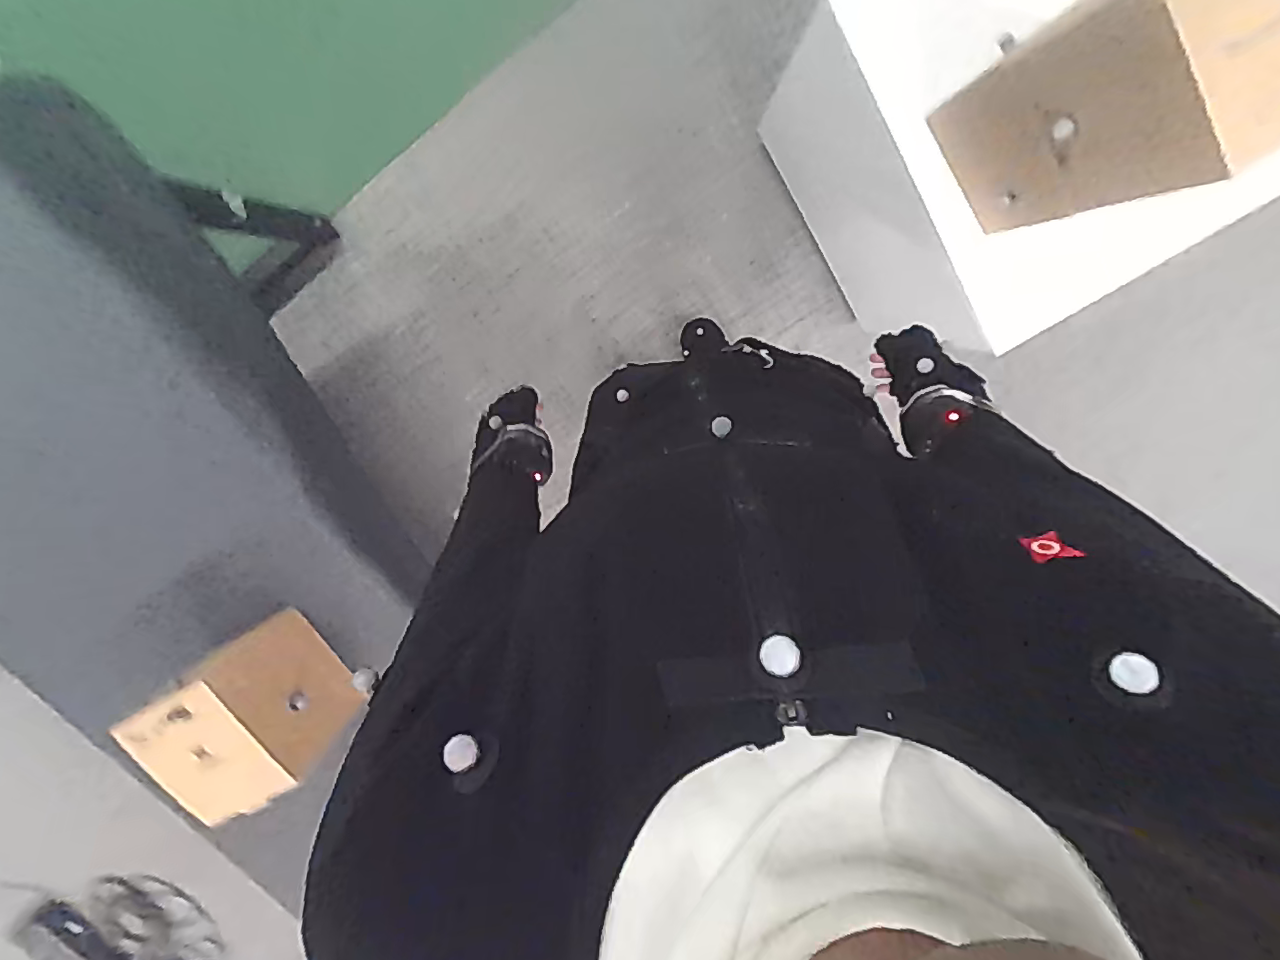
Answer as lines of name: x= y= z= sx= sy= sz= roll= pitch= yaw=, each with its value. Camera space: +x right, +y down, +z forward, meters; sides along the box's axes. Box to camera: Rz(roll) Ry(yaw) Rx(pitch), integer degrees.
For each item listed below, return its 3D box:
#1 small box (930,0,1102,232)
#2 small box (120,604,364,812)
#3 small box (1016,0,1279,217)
small box: x=0.462 y=-0.396 z=0.591 sx=0.168 sy=0.176 sz=0.179 roll=-35 pitch=101 yaw=13
small box: x=-0.530 y=0.308 z=0.752 sx=0.168 sy=0.176 sz=0.179 roll=-28 pitch=105 yaw=12
small box: x=0.462 y=-0.346 z=0.434 sx=0.179 sy=0.176 sz=0.168 roll=-37 pitch=103 yaw=12
